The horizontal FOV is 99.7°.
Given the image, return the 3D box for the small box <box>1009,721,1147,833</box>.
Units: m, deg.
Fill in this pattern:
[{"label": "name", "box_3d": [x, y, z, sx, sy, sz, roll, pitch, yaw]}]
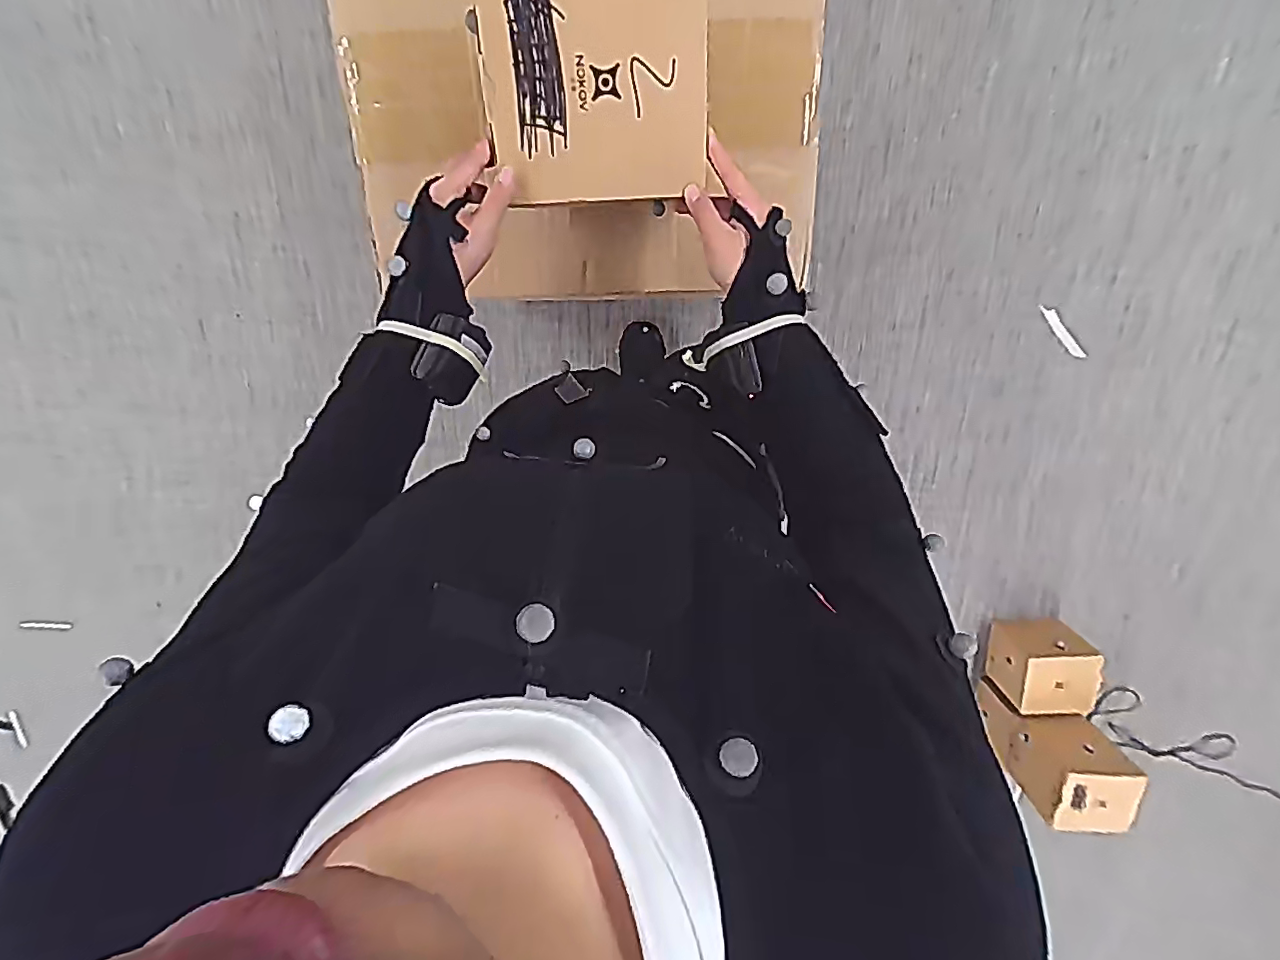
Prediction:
[{"label": "small box", "box_3d": [1.025, 0.697, 1.284, 0.179, 0.176, 0.168, 2, 108, 1]}]
